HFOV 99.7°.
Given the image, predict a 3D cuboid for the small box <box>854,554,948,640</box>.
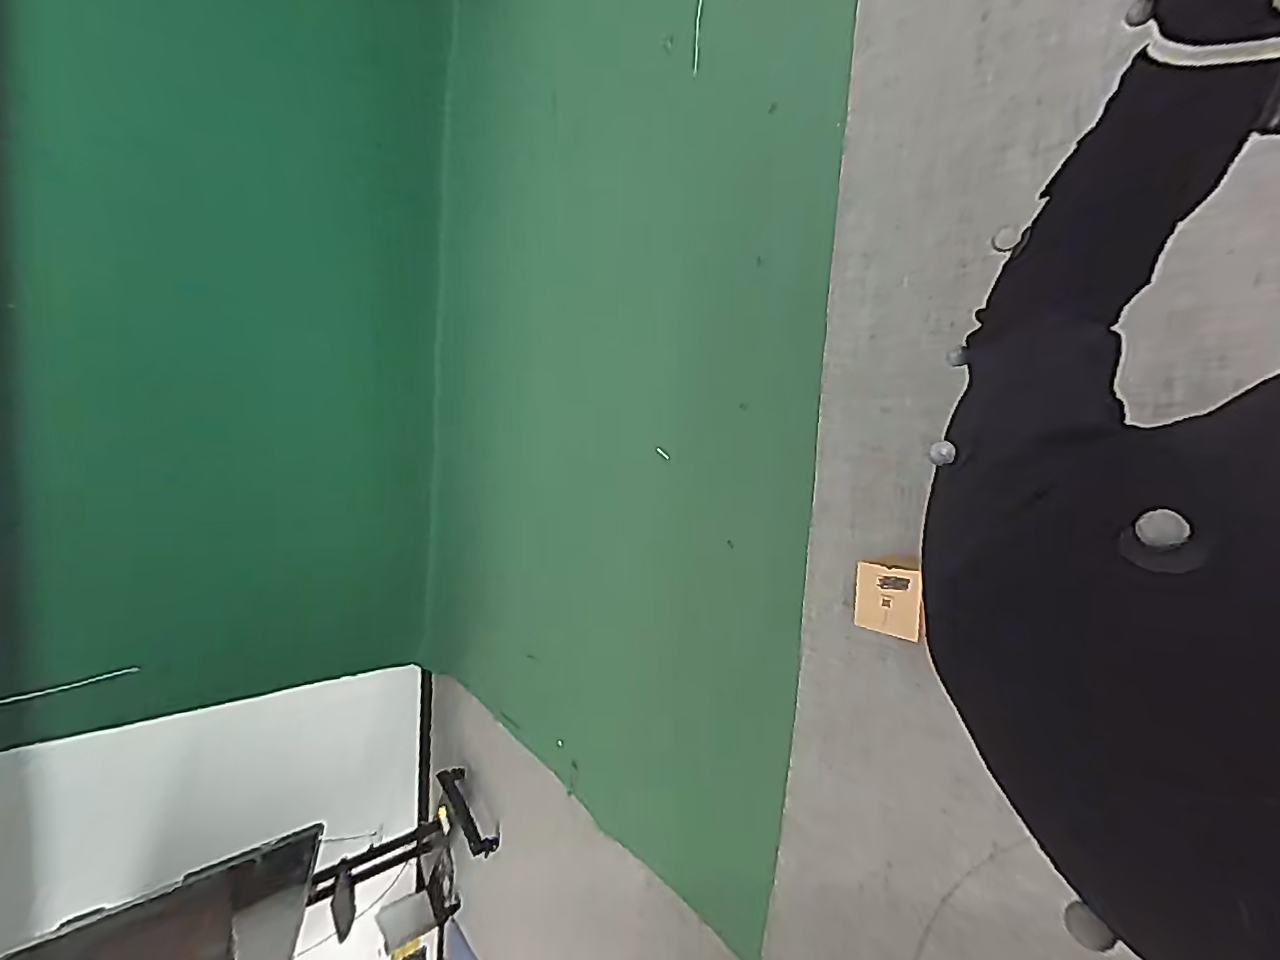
[{"bbox_3d":[0.683,0.296,1.411,0.168,0.176,0.179,6,95,49],"label":"small box"}]
